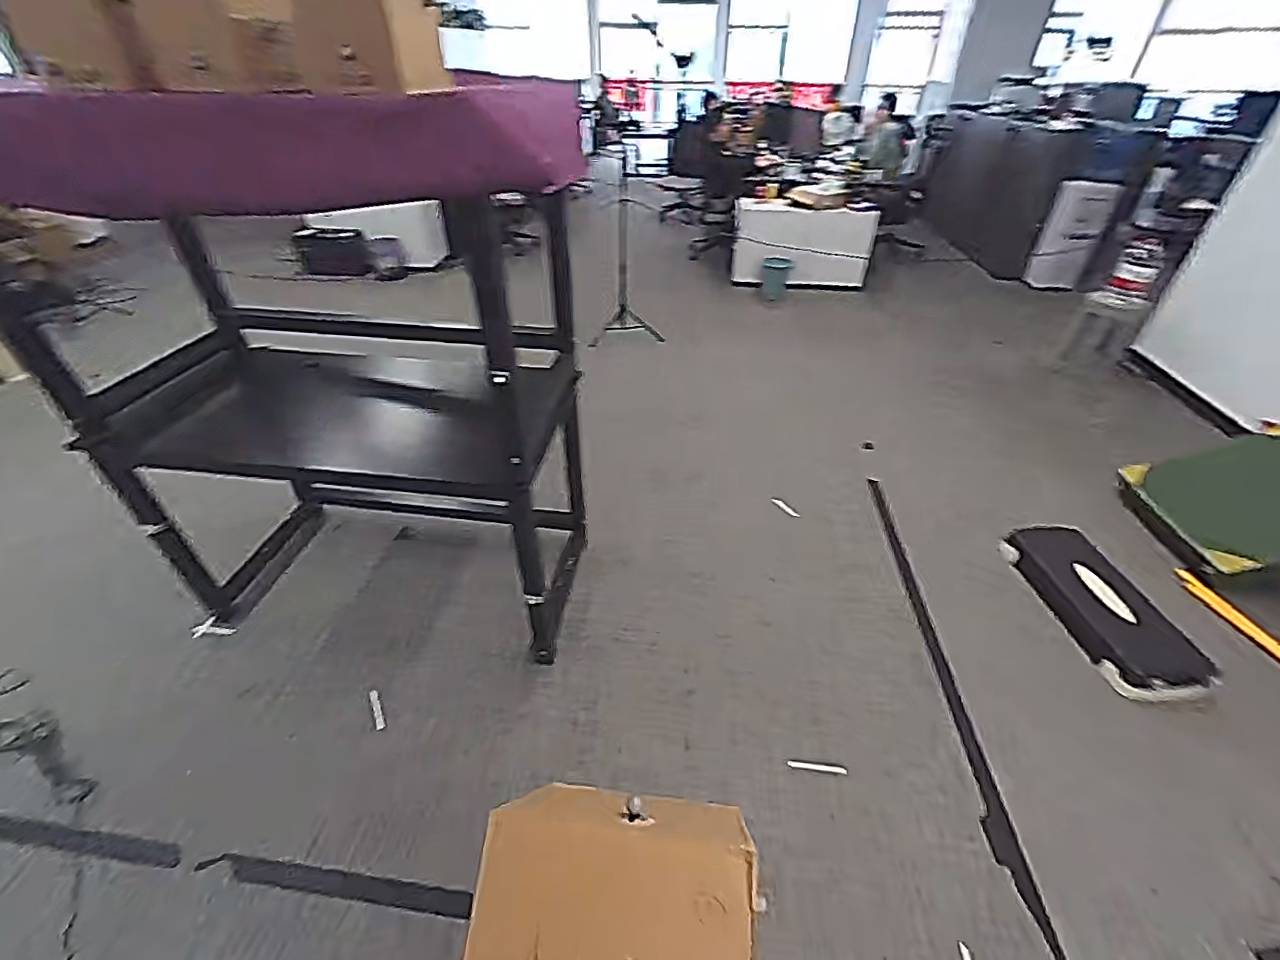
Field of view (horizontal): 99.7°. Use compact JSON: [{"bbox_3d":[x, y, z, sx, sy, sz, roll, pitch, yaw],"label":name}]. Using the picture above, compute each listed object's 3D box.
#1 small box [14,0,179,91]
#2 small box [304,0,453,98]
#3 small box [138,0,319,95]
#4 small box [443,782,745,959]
[{"bbox_3d":[-0.928,-0.794,0.956,0.168,0.176,0.179,3,37,3],"label":"small box"},{"bbox_3d":[-0.431,-0.749,0.904,0.168,0.176,0.179,6,38,9],"label":"small box"},{"bbox_3d":[-0.698,-0.770,0.929,0.179,0.176,0.168,8,38,8],"label":"small box"},{"bbox_3d":[-0.024,0.321,0.381,0.179,0.176,0.168,3,67,7],"label":"small box"}]
